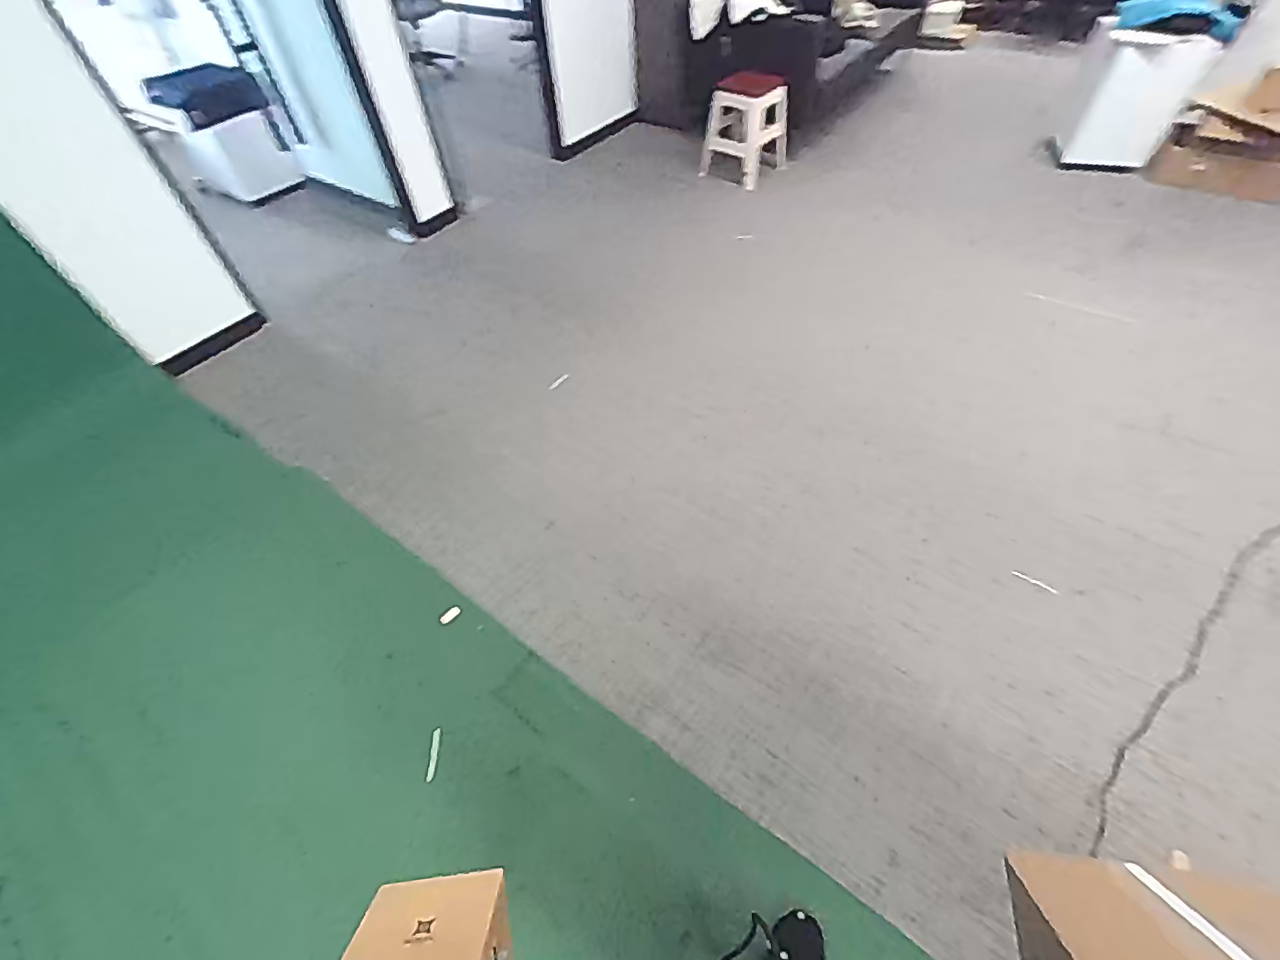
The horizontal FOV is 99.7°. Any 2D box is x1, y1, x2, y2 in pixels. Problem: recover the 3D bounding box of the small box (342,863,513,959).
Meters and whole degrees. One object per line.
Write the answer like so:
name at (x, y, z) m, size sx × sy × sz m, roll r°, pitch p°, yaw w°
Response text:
small box at (-0.253, 0.618, 0.659) m, size 0.168 × 0.179 × 0.176 m, roll -6°, pitch 92°, yaw -4°
